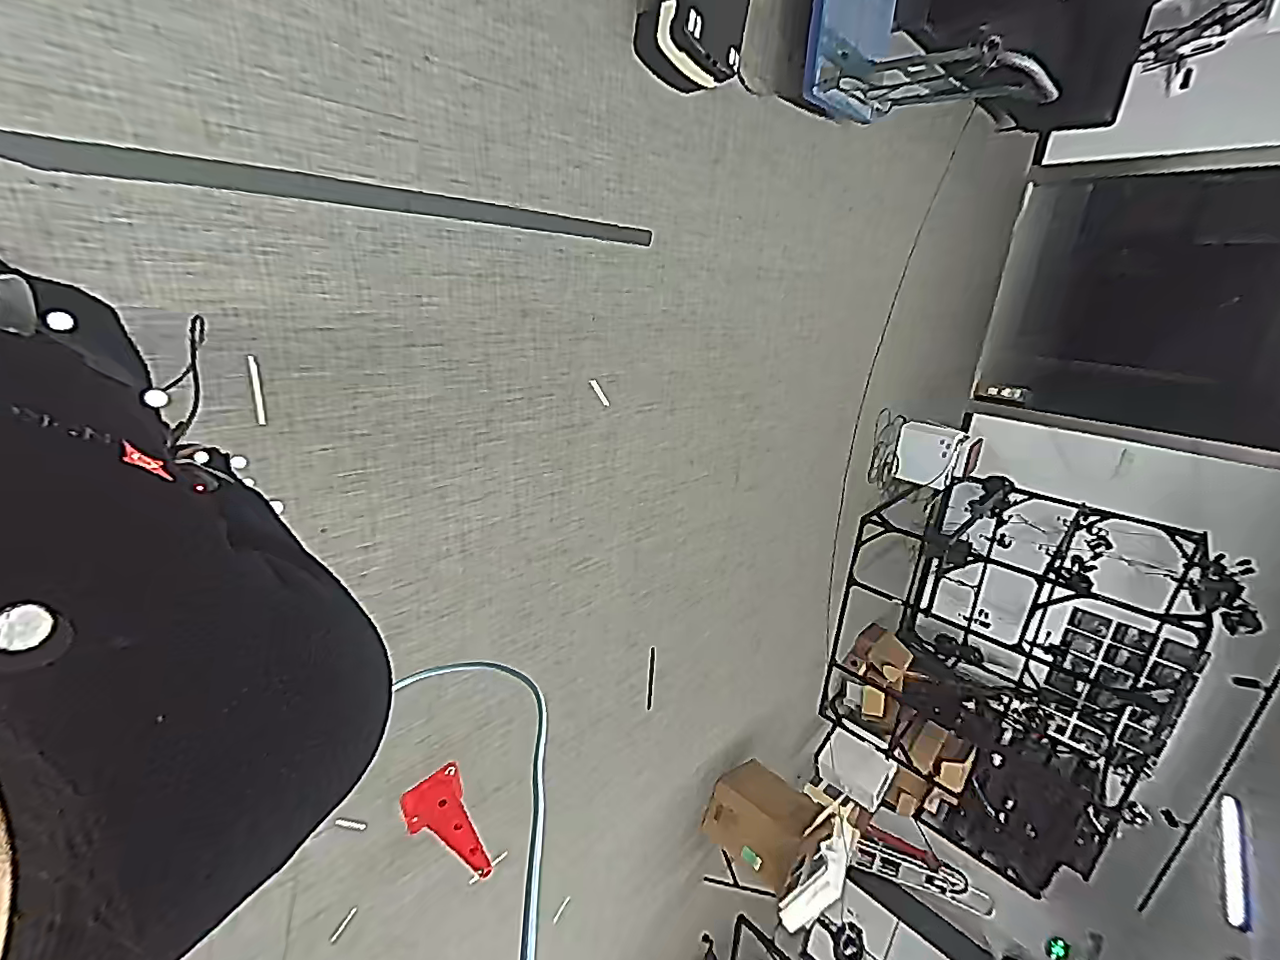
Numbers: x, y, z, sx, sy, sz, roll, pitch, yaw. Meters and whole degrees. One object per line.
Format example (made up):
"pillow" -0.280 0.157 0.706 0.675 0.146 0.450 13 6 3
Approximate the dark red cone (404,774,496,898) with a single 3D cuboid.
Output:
"dark red cone" -0.579 1.166 1.732 0.201 0.394 0.202 -24 123 -39
